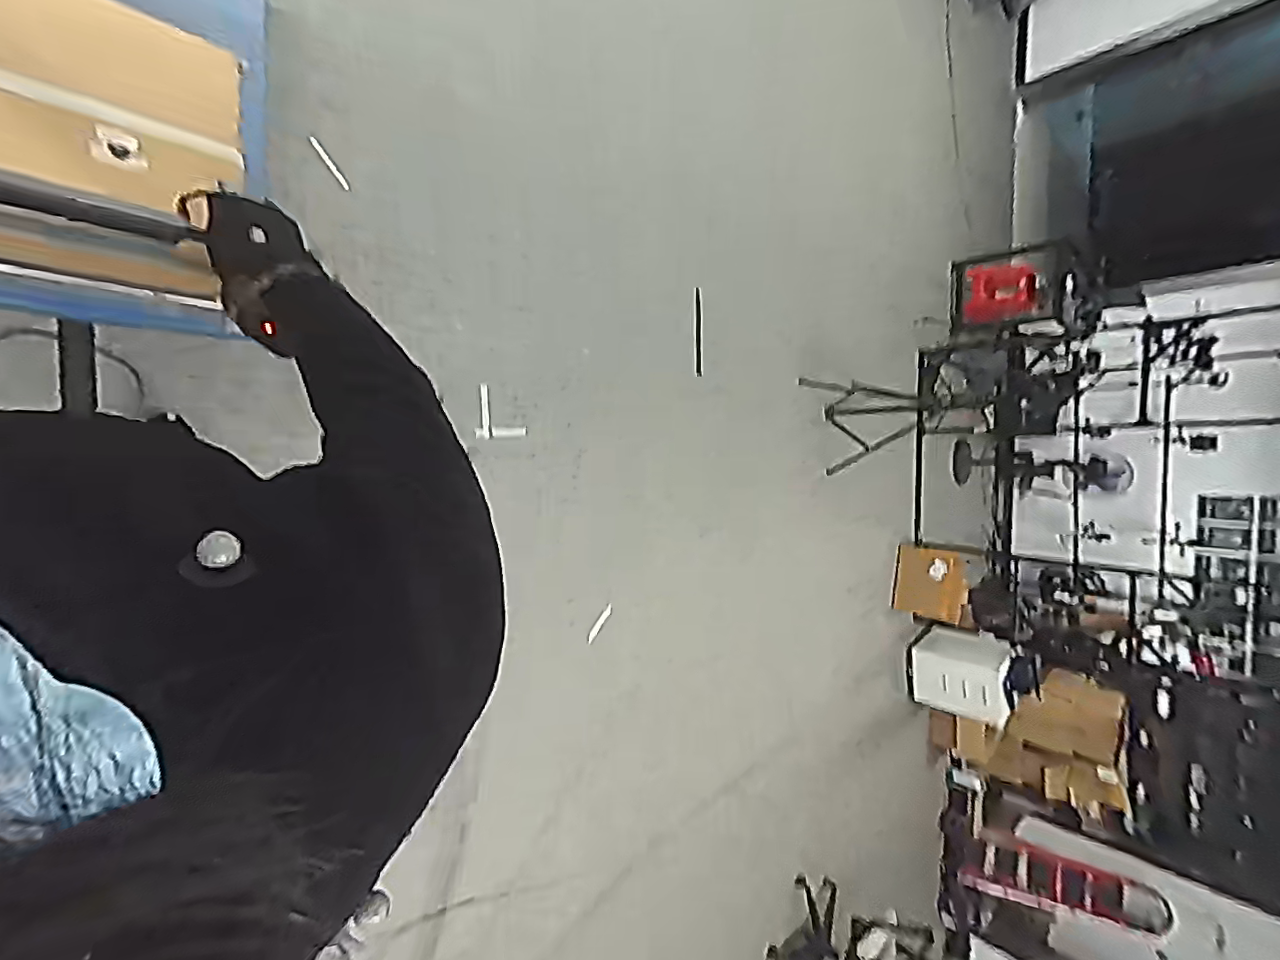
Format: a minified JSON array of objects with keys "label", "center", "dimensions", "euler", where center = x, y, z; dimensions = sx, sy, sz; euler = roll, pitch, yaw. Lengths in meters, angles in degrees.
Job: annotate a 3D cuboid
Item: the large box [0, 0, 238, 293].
[{"label":"large box","center":[-0.882,-0.509,0.817],"dimensions":[0.408,0.320,0.320],"euler":[0,93,-45]}]
